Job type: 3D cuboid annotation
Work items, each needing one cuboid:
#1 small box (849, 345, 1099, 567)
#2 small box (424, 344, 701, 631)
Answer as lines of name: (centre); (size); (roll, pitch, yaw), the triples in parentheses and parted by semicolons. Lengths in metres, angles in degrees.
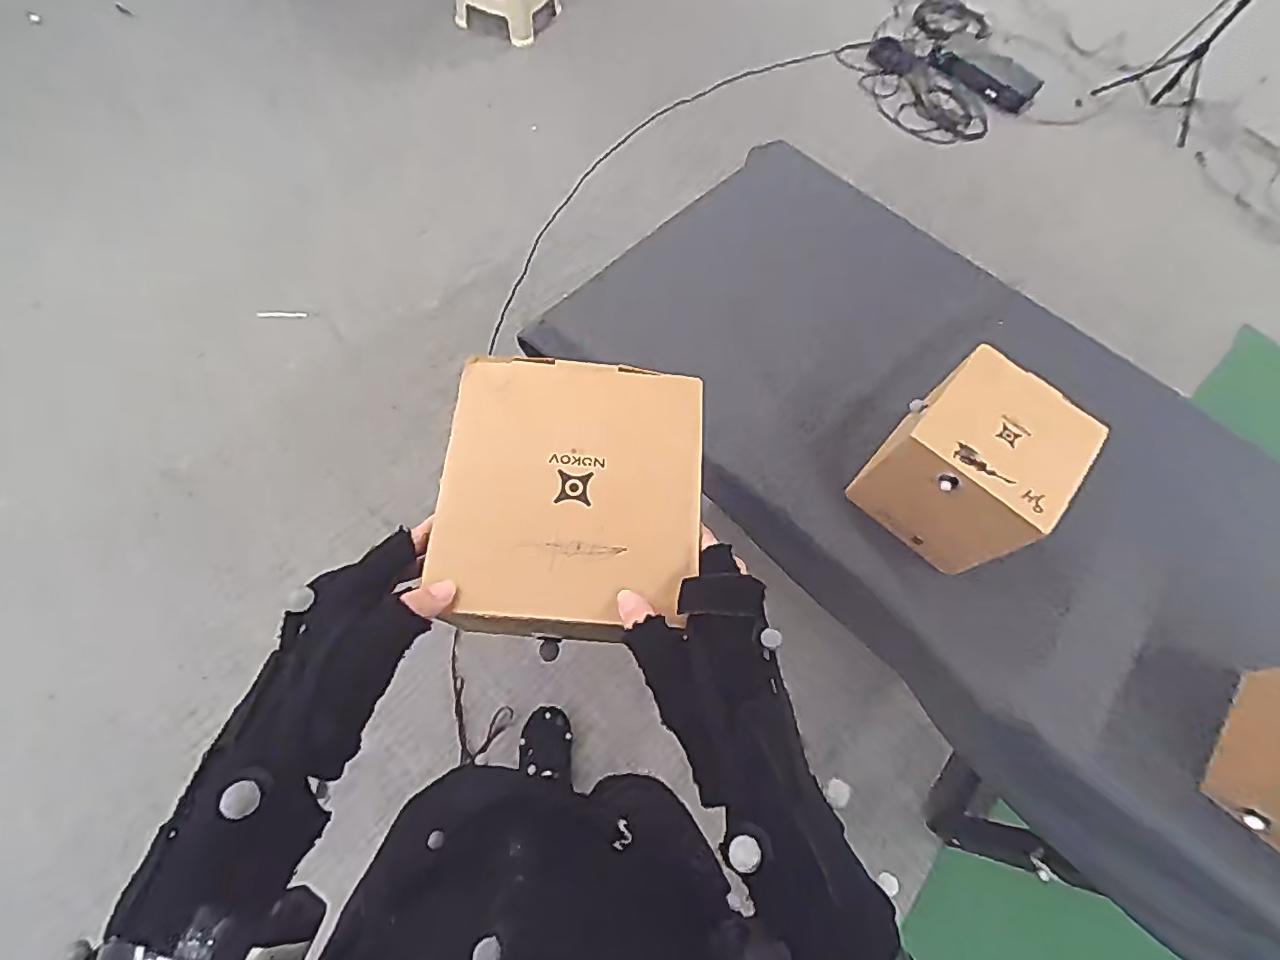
small box: (0.392, -0.022, 0.665); (0.168, 0.176, 0.179); (41, 68, 13)
small box: (-0.051, 0.020, 0.428); (0.168, 0.176, 0.179); (5, 71, -4)
